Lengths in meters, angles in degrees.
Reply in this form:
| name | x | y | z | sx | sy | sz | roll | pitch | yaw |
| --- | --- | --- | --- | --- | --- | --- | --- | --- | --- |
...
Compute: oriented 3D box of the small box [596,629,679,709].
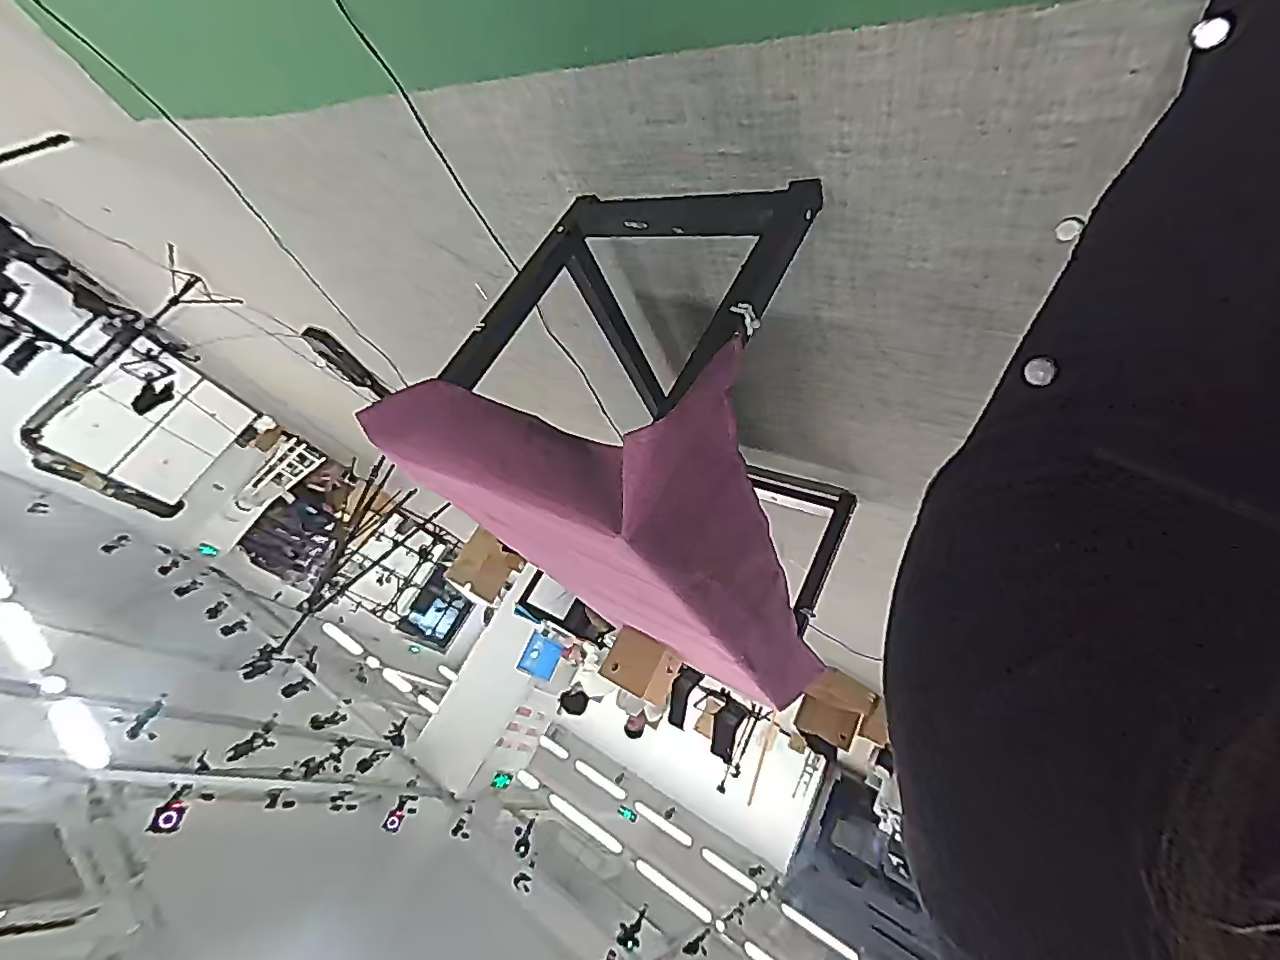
| name | x | y | z | sx | sy | sz | roll | pitch | yaw |
| --- | --- | --- | --- | --- | --- | --- | --- | --- | --- |
| small box | -0.002 | 0.594 | 1.722 | 0.179 | 0.176 | 0.168 | 17 | 157 | 33 |
